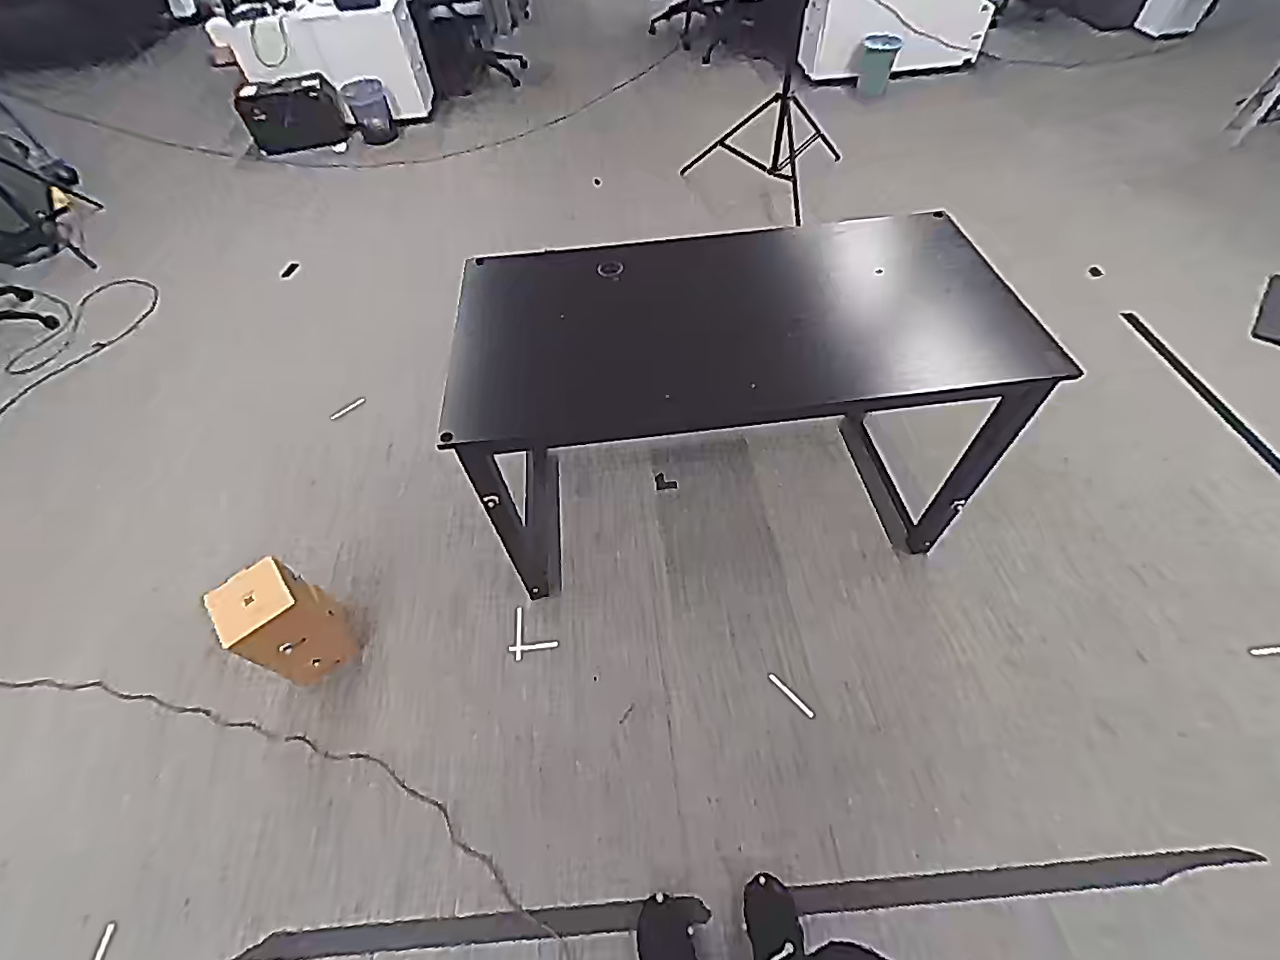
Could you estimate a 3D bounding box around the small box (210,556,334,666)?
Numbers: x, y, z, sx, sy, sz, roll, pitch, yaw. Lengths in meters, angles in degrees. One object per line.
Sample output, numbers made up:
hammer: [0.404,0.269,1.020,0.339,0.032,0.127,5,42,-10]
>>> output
small box: [-0.908,0.330,1.346,0.168,0.176,0.179,-38,61,-20]

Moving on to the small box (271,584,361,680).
small box: [-0.898,0.424,1.479,0.168,0.176,0.179,-32,58,-20]
